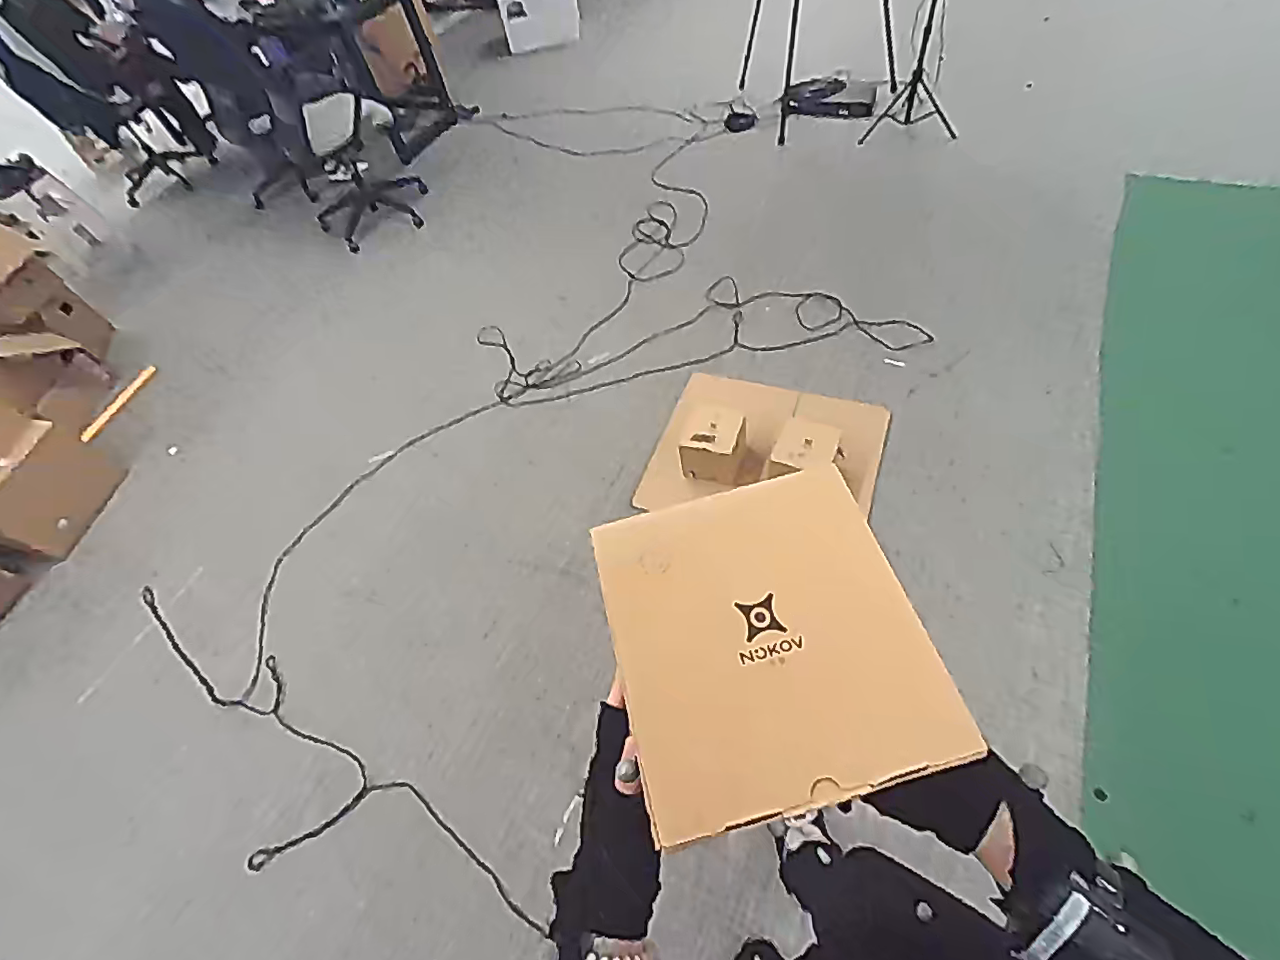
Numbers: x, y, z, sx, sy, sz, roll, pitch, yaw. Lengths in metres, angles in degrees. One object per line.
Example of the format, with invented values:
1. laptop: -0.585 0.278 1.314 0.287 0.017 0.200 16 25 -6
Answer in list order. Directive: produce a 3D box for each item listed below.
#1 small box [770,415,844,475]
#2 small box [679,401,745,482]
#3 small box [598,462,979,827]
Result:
1. small box: 0.494 -0.061 1.623 0.168 0.176 0.179 19 62 23
2. small box: 0.233 -0.119 1.707 0.168 0.176 0.179 13 59 19
3. small box: 0.075 0.118 0.372 0.168 0.176 0.179 -14 59 -3
